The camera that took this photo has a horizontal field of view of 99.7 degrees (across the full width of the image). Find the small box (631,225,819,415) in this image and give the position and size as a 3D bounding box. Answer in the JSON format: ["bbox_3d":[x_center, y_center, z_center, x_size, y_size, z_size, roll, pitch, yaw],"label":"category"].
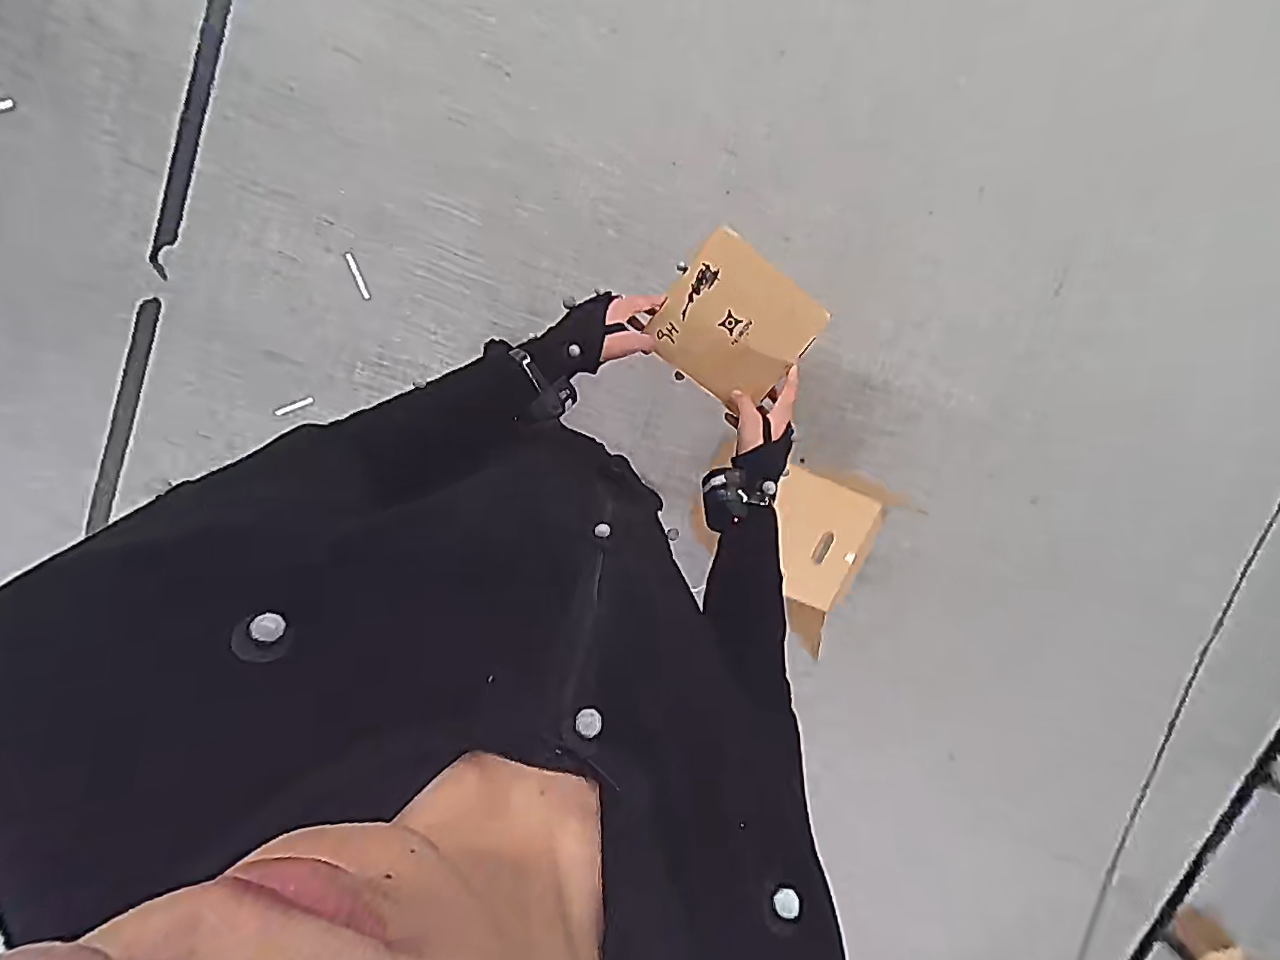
[{"bbox_3d":[0.105,-0.220,0.743,0.179,0.176,0.168,35,106,-12],"label":"small box"}]
